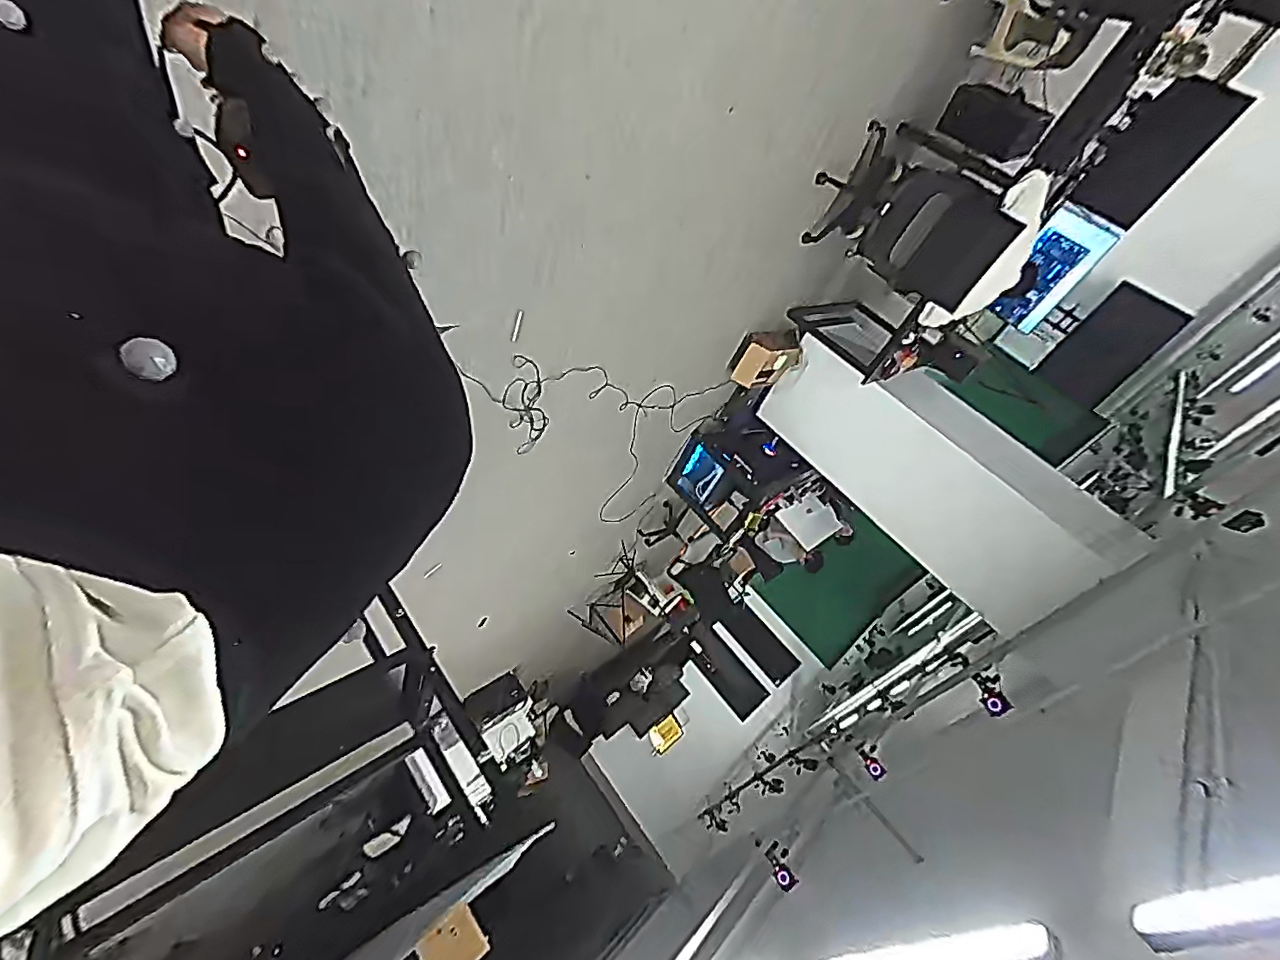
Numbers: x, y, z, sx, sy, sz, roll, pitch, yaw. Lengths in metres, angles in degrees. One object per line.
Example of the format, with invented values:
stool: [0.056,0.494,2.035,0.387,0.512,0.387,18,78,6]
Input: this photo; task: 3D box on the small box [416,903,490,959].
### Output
small box: [-0.620,1.544,1.779,0.168,0.176,0.179,-22,149,-41]
